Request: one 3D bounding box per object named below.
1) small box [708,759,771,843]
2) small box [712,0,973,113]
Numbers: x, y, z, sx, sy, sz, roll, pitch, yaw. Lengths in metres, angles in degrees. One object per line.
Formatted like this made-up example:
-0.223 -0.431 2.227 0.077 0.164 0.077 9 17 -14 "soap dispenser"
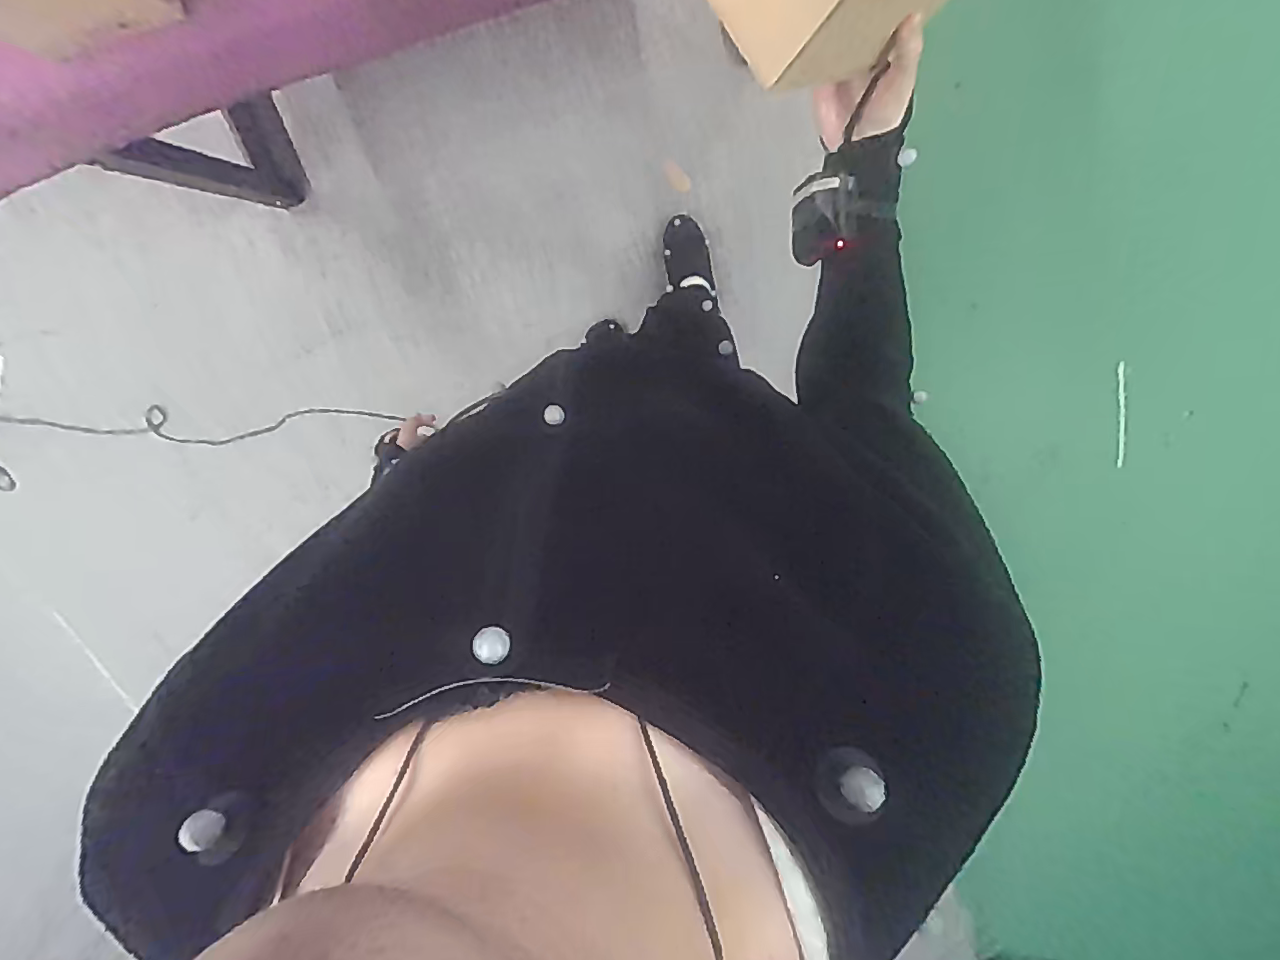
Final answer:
0.331 1.068 1.816 0.168 0.176 0.179 -12 109 3 "small box"
0.133 -0.359 0.305 0.168 0.179 0.176 -39 96 -33 "small box"
